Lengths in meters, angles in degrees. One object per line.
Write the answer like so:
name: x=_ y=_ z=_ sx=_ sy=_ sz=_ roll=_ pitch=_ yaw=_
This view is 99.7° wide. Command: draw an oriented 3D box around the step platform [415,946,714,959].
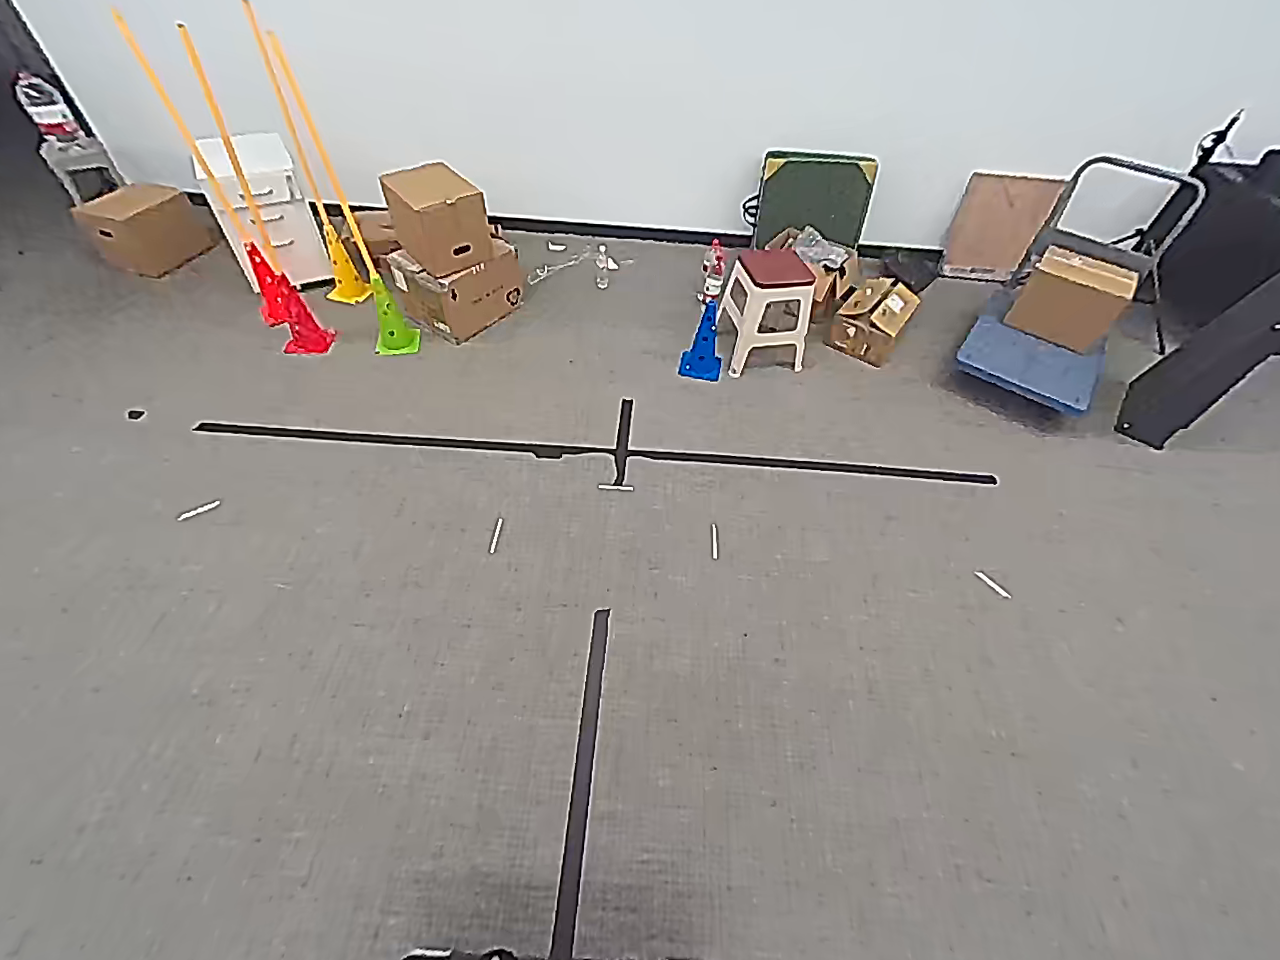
step platform: x=-0.152 y=1.135 z=1.085 sx=0.684 sy=0.204 sz=0.286 roll=4 pitch=49 yaw=-2
